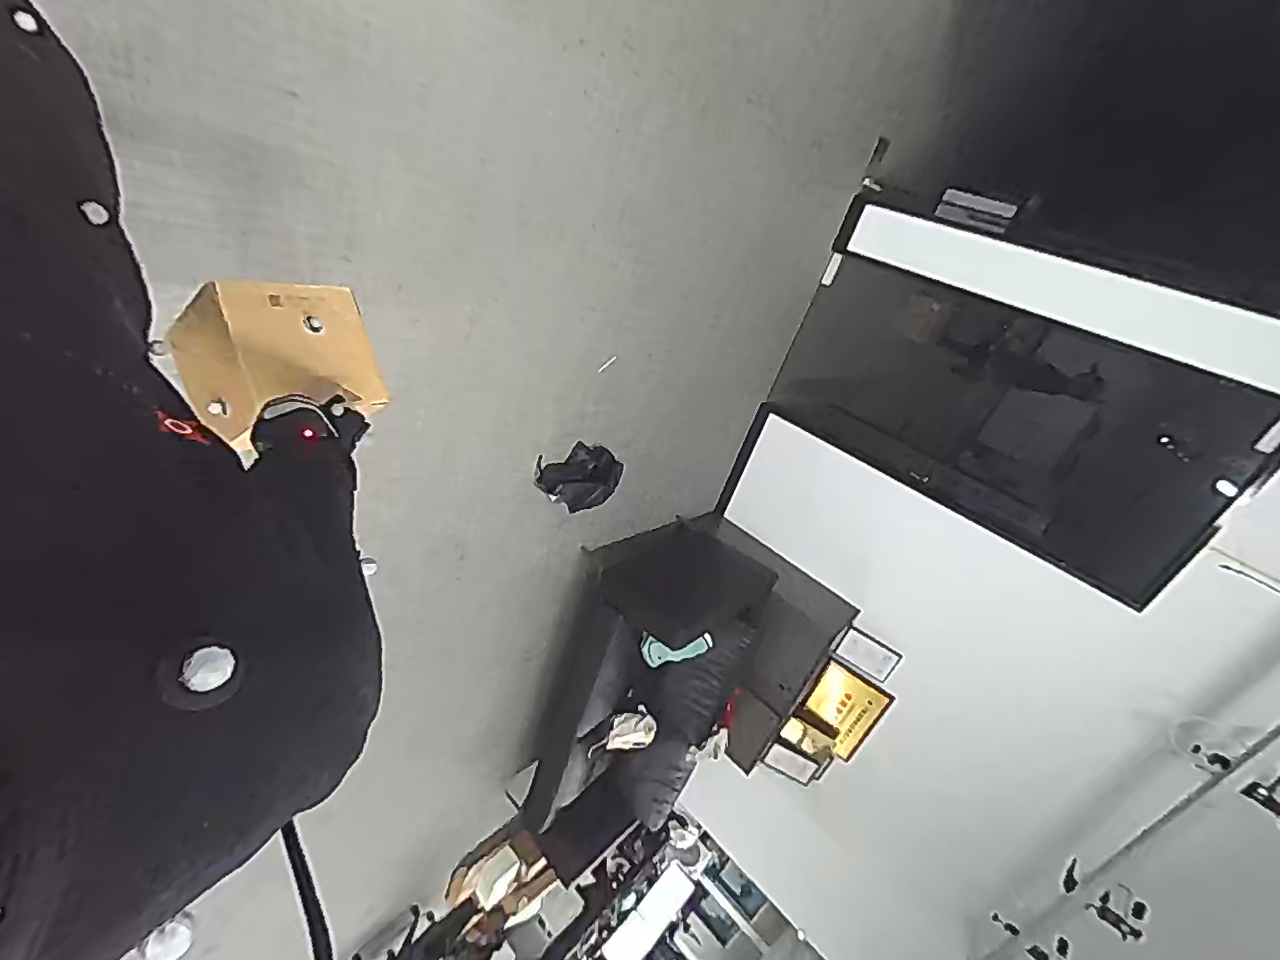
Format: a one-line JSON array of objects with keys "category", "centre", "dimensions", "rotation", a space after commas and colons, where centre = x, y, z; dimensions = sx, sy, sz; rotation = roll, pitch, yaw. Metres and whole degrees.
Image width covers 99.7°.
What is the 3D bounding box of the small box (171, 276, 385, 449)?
[{"category": "small box", "centre": [-0.483, -0.151, 0.723], "dimensions": [0.168, 0.179, 0.176], "rotation": [-23, 97, -56]}]
